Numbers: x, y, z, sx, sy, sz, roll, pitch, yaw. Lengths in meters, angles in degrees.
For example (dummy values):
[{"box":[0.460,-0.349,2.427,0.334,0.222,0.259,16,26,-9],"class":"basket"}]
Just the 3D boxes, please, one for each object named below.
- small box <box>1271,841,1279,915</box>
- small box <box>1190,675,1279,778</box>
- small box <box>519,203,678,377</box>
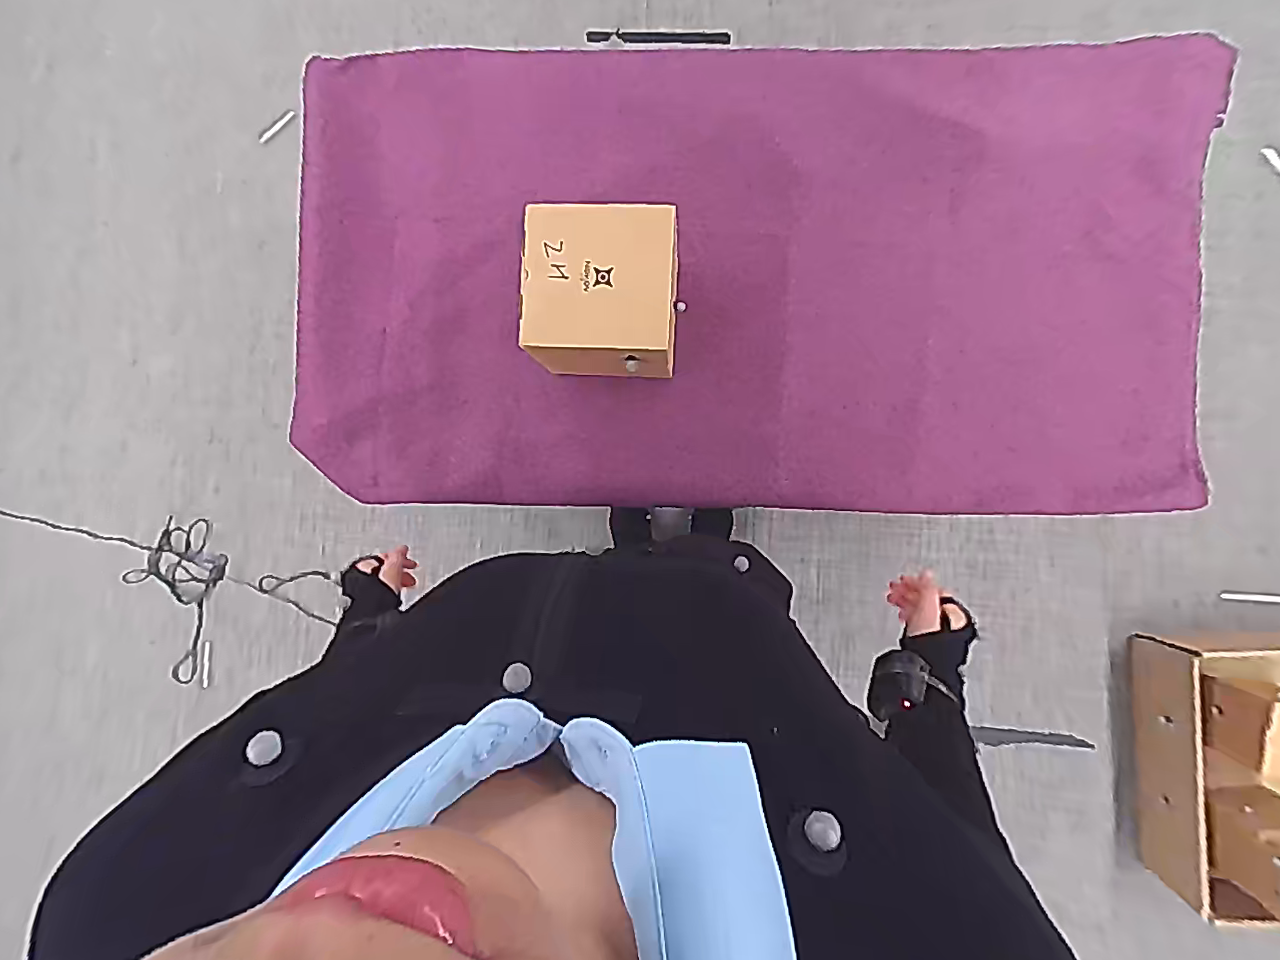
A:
[{"box":[1.440,0.850,1.084,0.179,0.176,0.168,-2,90,4],"class":"small box"},{"box":[1.452,0.570,1.249,0.179,0.176,0.168,8,92,4],"class":"small box"},{"box":[-0.042,-0.230,0.692,0.179,0.176,0.168,3,90,5],"class":"small box"}]
